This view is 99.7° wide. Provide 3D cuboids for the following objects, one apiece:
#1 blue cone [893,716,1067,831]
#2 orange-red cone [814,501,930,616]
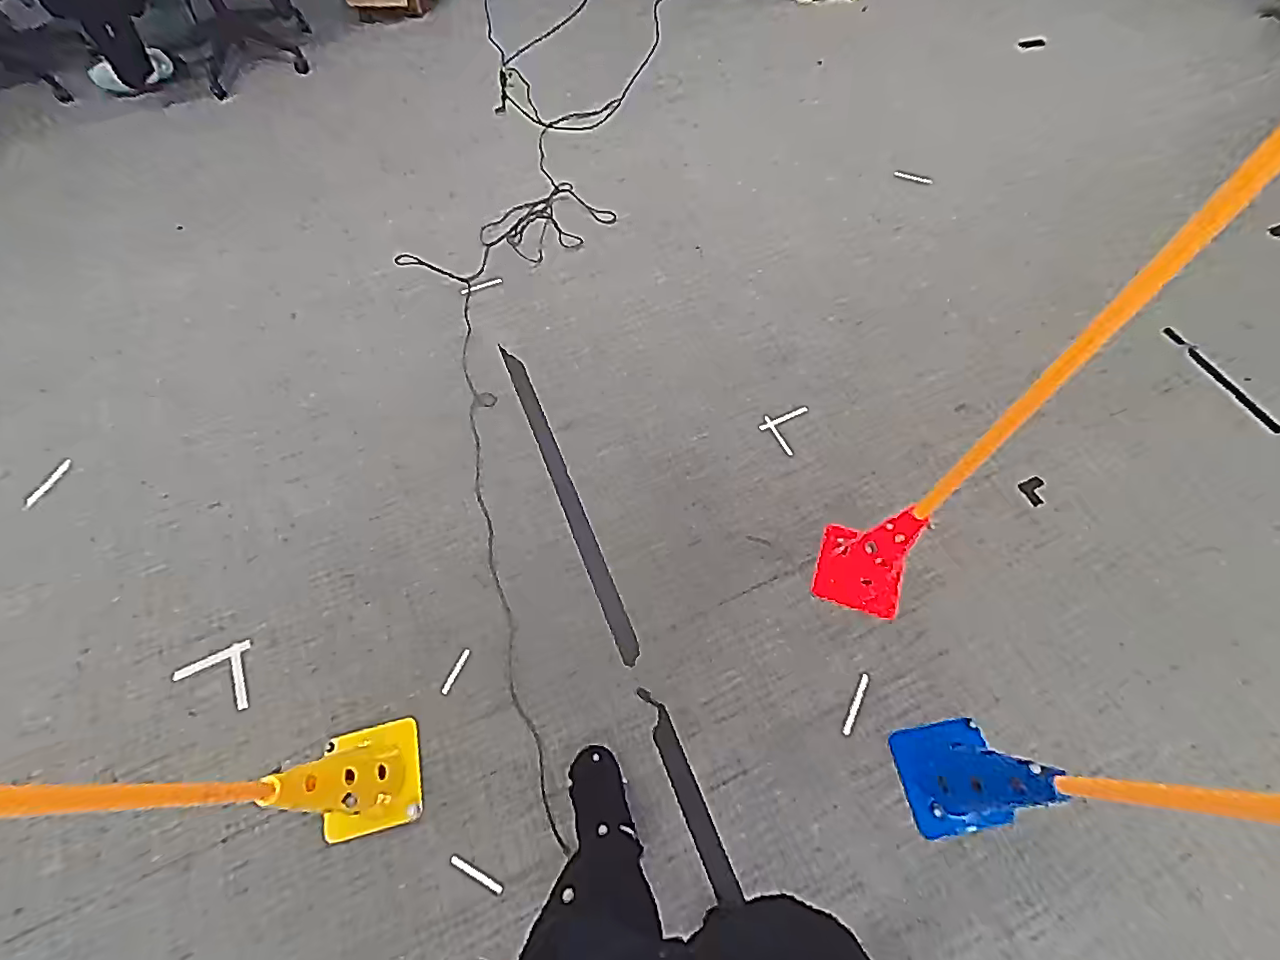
[{"bbox_3d":[0.632,0.524,0.967,0.193,0.380,0.192,-9,62,-2],"label":"blue cone"},{"bbox_3d":[0.528,0.136,1.154,0.198,0.360,0.199,18,66,12],"label":"orange-red cone"}]
